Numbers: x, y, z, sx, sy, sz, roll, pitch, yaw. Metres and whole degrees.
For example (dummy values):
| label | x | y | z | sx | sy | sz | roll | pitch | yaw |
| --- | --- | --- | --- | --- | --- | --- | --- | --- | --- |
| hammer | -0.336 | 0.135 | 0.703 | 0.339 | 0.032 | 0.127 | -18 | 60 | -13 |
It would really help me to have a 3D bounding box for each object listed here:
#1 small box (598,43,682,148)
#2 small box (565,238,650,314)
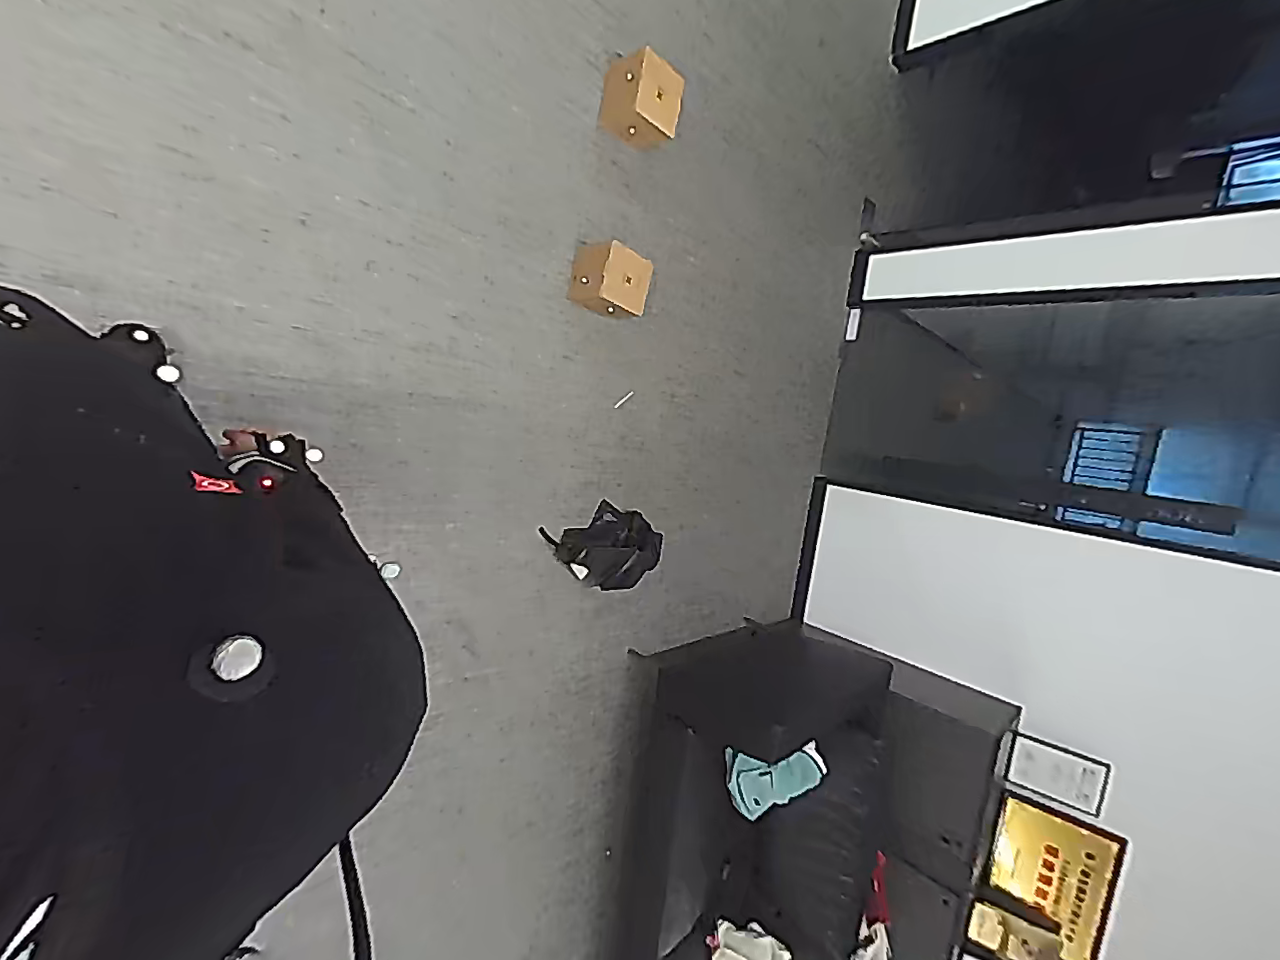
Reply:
| label | x | y | z | sx | sy | sz | roll | pitch | yaw |
| --- | --- | --- | --- | --- | --- | --- | --- | --- | --- |
| small box | -0.005 | -1.123 | 1.599 | 0.168 | 0.176 | 0.179 | 5 | 97 | -46 |
| small box | -0.102 | -0.610 | 1.642 | 0.179 | 0.176 | 0.168 | 11 | 95 | -47 |
